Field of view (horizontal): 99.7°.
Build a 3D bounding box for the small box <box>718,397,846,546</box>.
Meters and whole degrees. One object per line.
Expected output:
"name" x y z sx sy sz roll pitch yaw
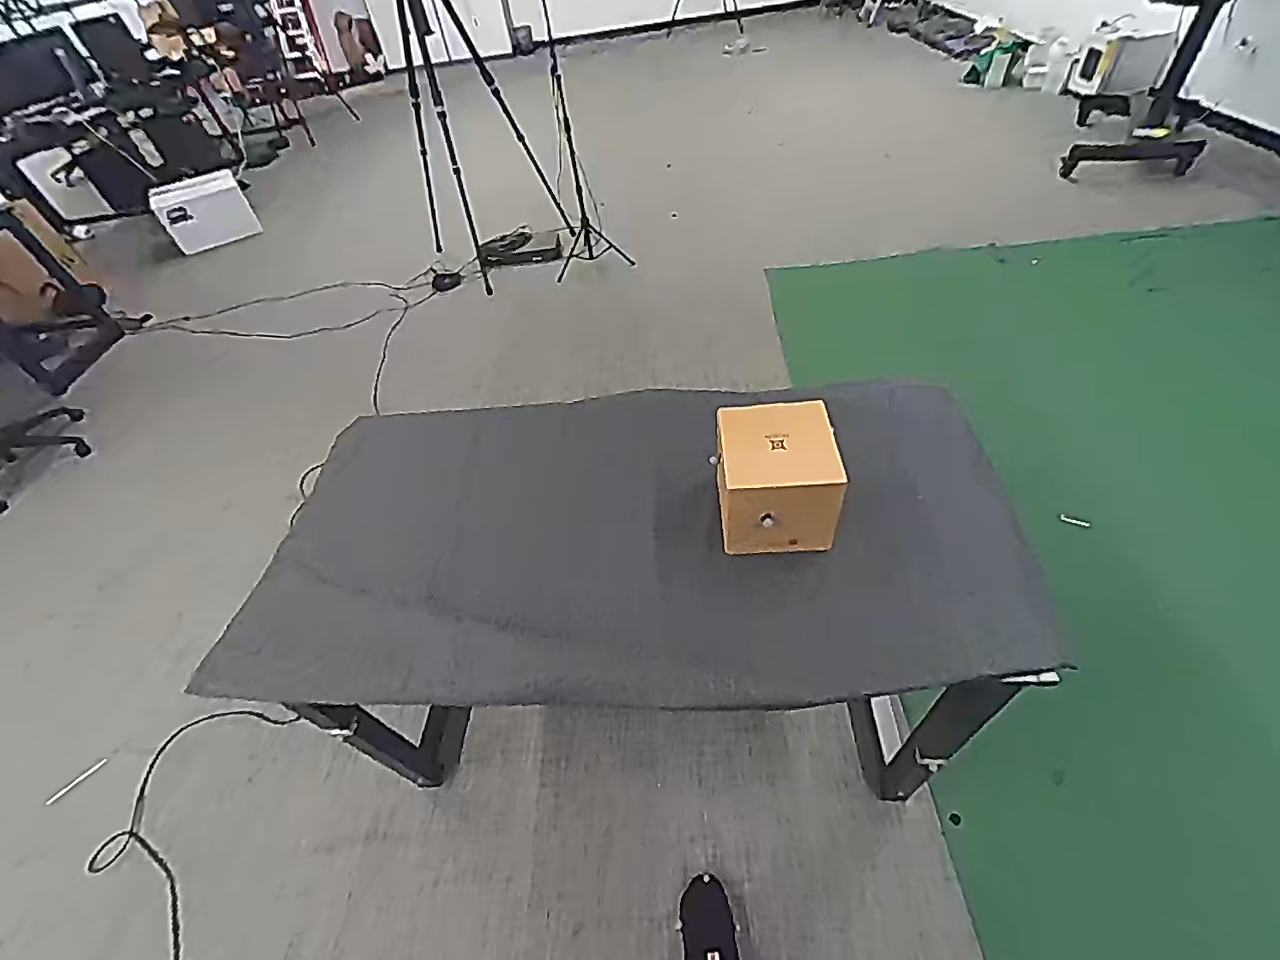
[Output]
"small box" 0.213 -0.007 0.853 0.168 0.176 0.179 -4 48 6
